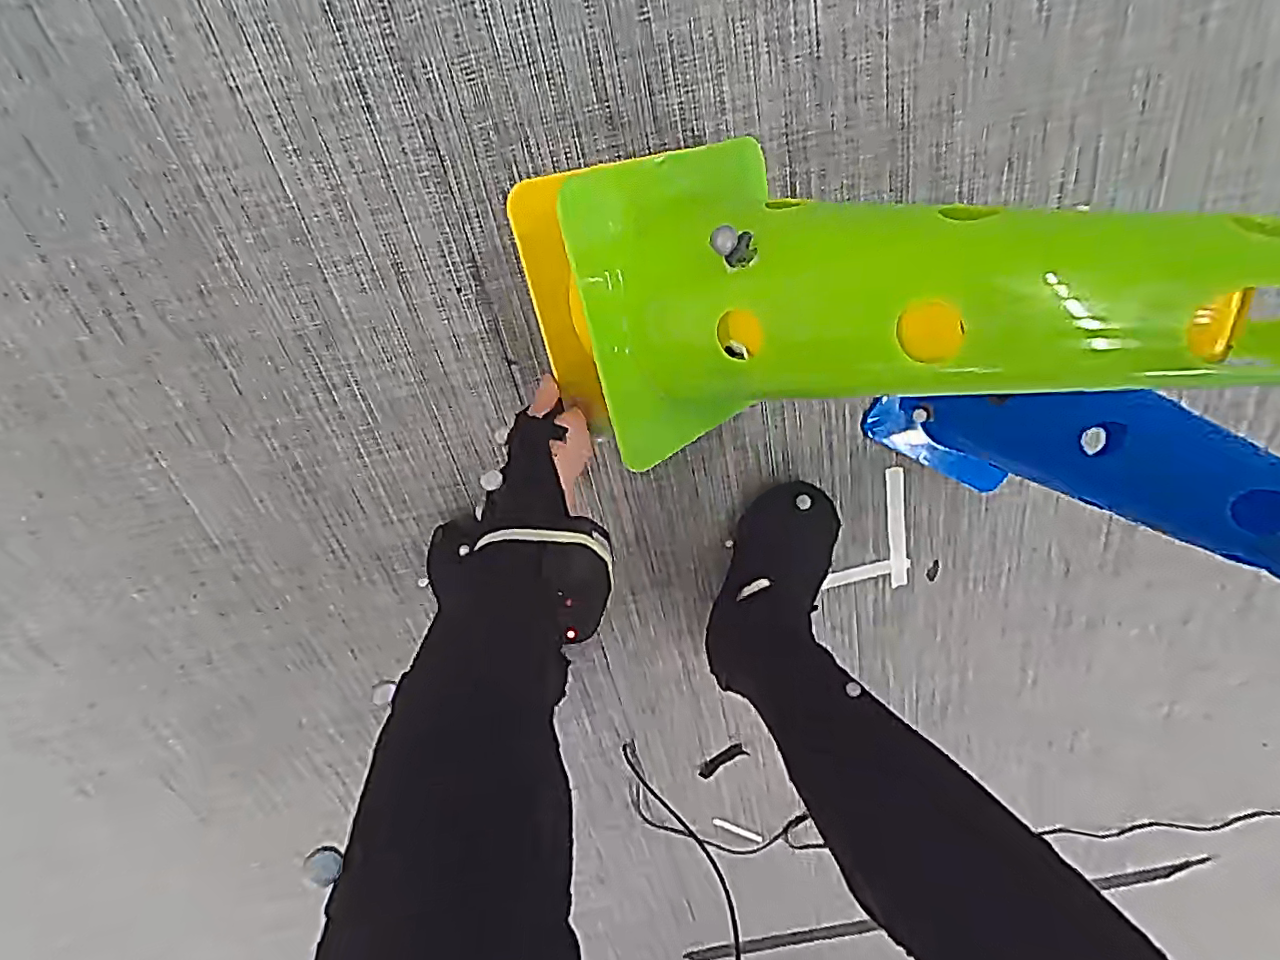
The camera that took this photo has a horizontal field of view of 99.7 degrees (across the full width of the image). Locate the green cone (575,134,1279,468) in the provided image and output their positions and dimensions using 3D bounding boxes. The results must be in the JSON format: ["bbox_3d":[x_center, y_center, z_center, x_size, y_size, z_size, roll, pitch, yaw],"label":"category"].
[{"bbox_3d":[0.163,-0.092,0.274,0.202,0.368,0.200,-33,122,-30],"label":"green cone"}]
